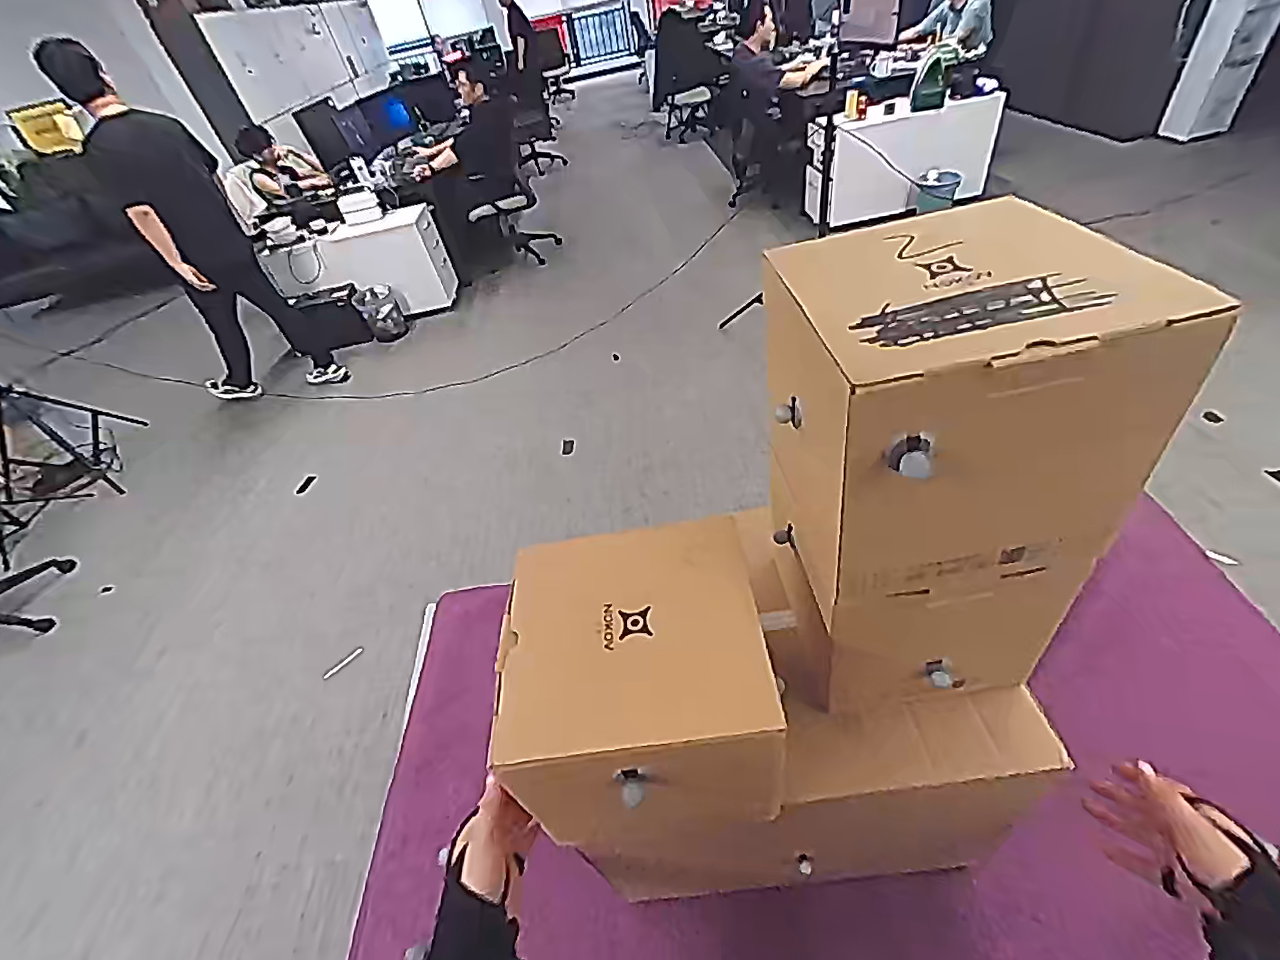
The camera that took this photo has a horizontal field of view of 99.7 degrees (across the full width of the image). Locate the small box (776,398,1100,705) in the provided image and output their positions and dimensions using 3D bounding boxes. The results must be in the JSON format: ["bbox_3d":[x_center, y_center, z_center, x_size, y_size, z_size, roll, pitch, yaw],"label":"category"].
[{"bbox_3d":[0.216,0.060,0.456,0.168,0.176,0.179,-11,42,5],"label":"small box"}]

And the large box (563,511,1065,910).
[{"bbox_3d":[0.149,0.257,0.629,0.408,0.320,0.320,-11,40,4],"label":"large box"}]
